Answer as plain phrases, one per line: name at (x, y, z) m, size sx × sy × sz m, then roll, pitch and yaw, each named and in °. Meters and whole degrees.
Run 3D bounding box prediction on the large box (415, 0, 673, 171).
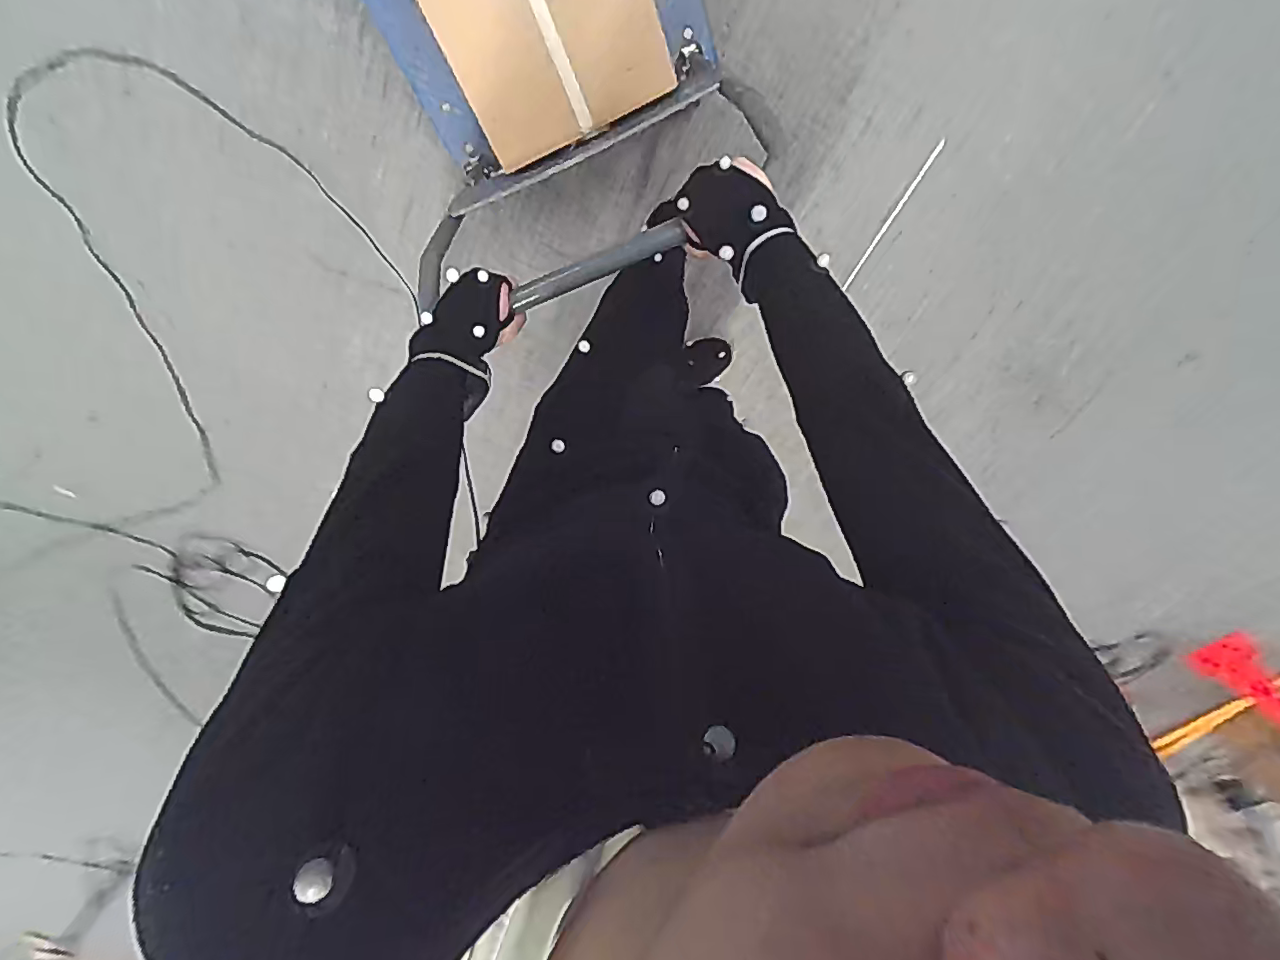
large box at (-0.169, -0.799, 0.877) m, size 0.320 × 0.320 × 0.408 m, roll -20°, pitch 127°, yaw 12°
